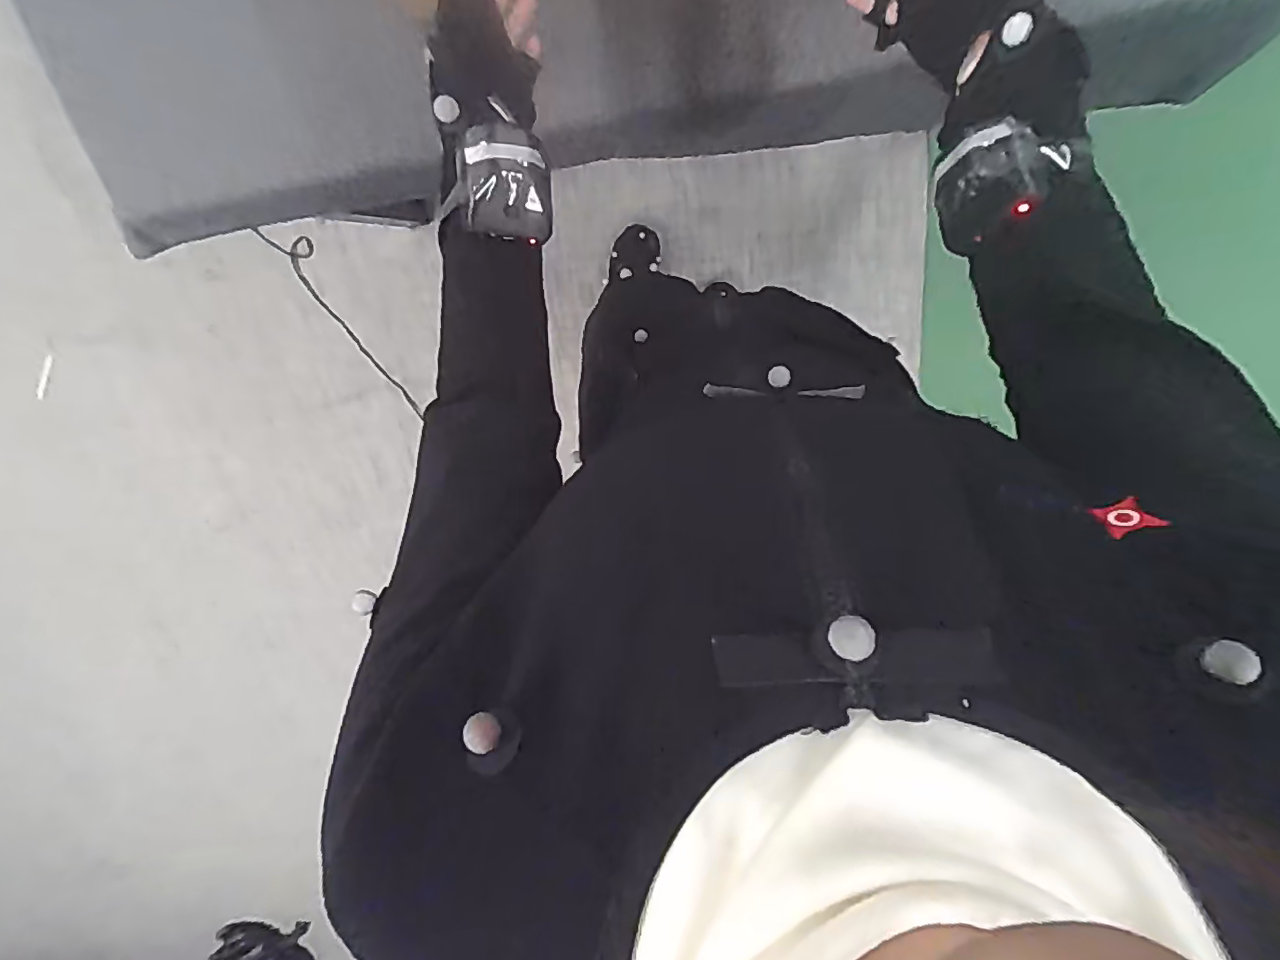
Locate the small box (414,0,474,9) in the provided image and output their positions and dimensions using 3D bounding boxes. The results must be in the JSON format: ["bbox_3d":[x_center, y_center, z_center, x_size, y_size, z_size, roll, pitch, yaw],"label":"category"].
[{"bbox_3d":[-0.152,-0.507,0.413,0.168,0.176,0.179,-12,111,6],"label":"small box"}]
